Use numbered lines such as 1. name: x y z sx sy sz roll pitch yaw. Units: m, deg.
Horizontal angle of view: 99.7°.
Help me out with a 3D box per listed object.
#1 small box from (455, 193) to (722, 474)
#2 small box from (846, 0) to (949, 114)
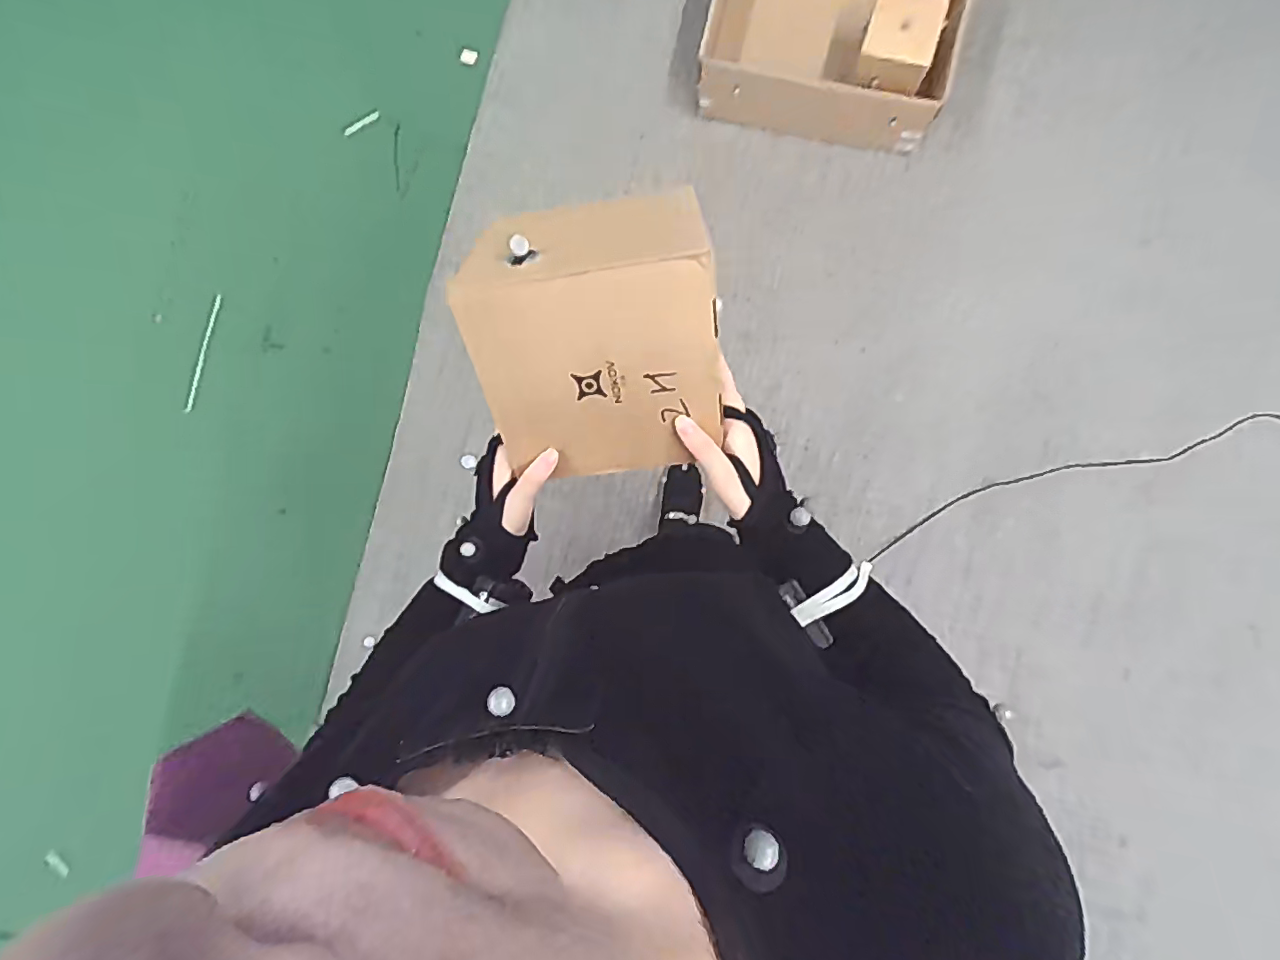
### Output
1. small box: -0.028 -0.126 0.459 0.179 0.176 0.168 -6 131 4
2. small box: 0.640 -1.076 1.369 0.168 0.176 0.179 17 89 5
